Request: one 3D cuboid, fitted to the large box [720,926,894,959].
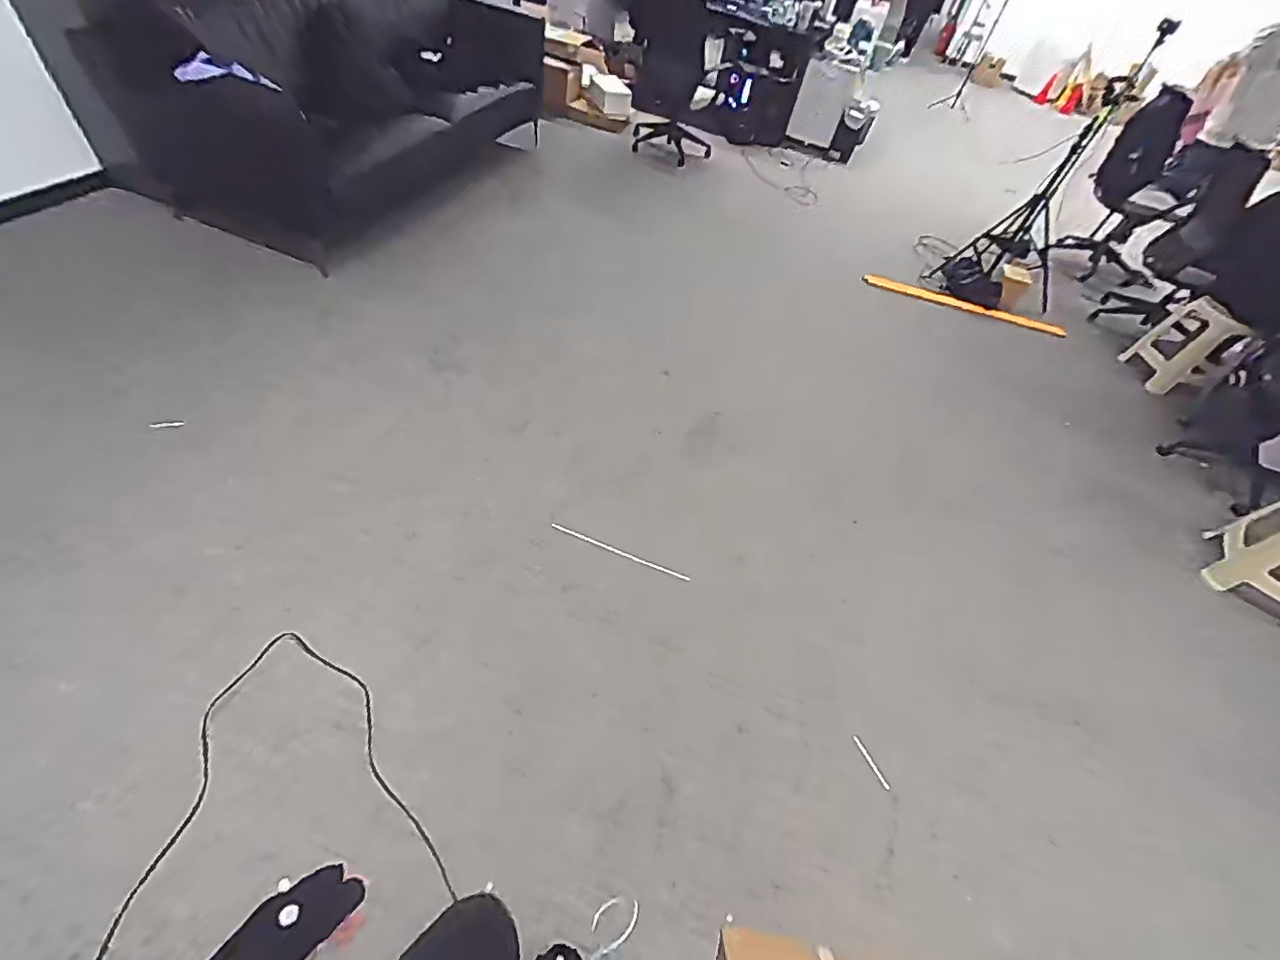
[{"bbox_3d":[0.253,0.853,0.633,0.320,0.408,0.320,12,84,3],"label":"large box"}]
